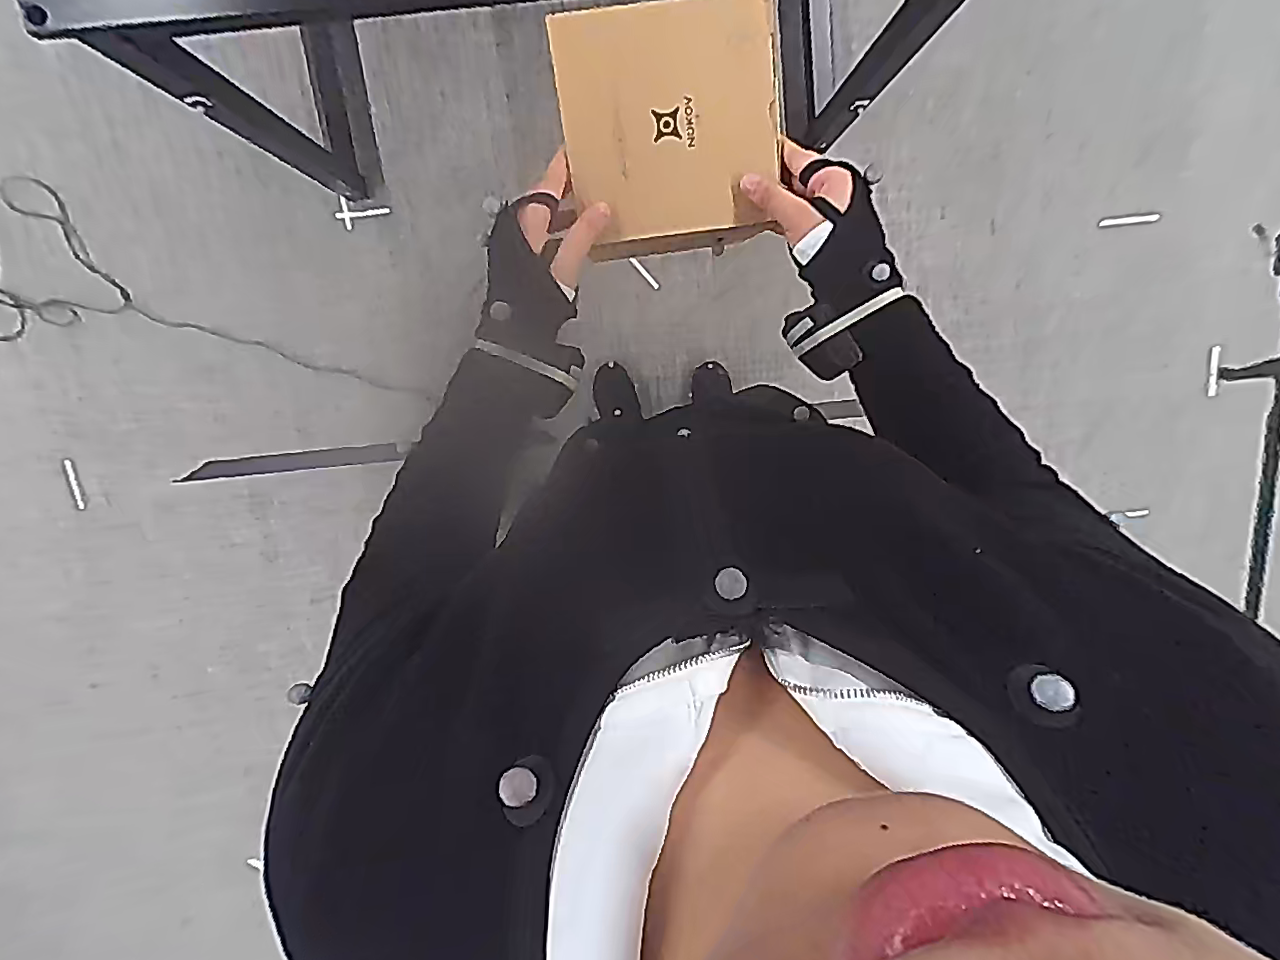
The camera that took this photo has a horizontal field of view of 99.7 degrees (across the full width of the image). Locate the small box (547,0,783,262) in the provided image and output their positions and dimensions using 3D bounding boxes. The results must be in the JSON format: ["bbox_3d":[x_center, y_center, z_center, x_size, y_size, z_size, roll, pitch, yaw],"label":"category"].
[{"bbox_3d":[0.022,-0.310,0.508,0.179,0.176,0.168,-8,106,1],"label":"small box"}]
